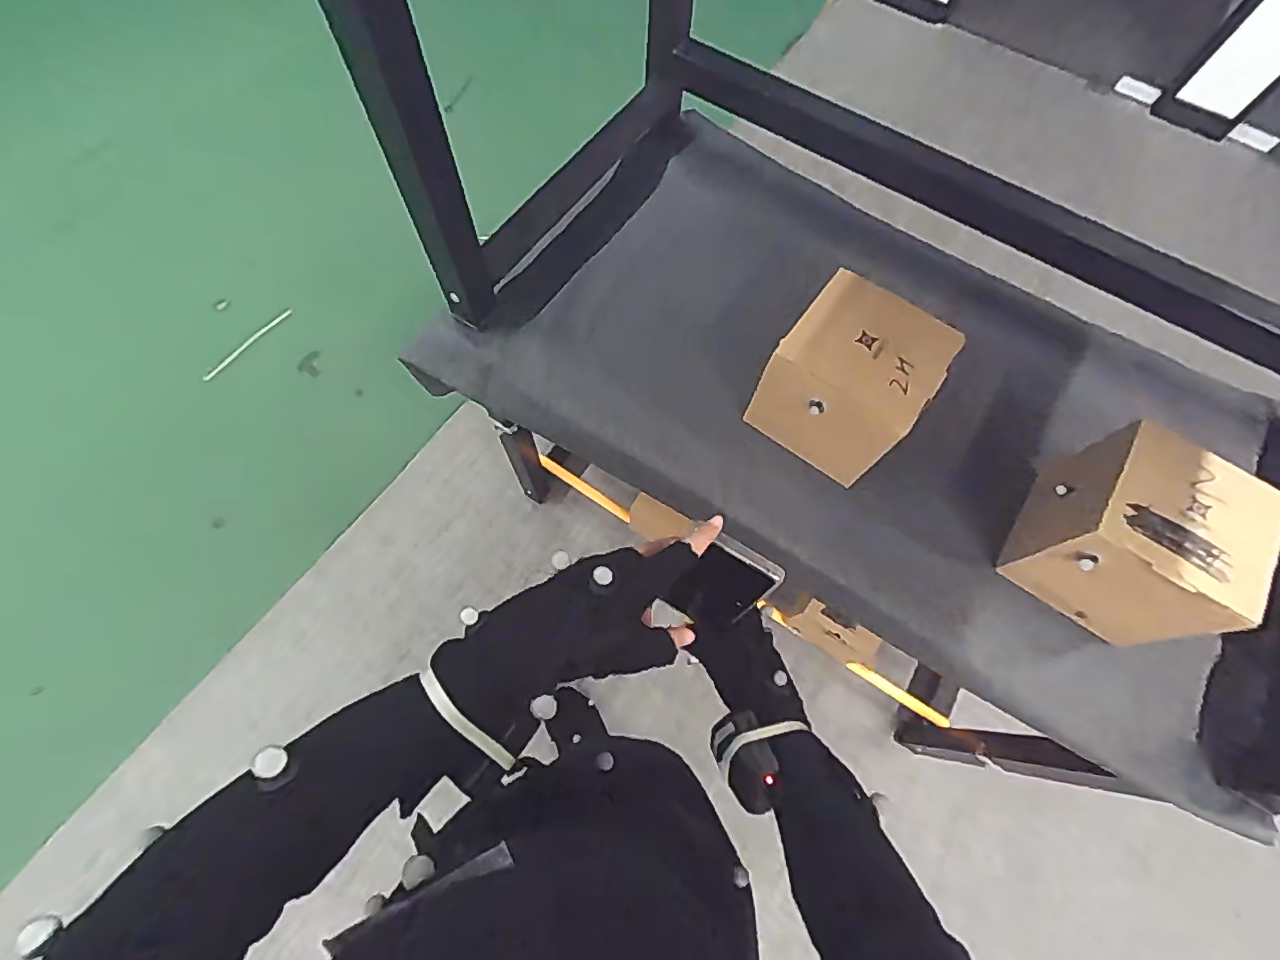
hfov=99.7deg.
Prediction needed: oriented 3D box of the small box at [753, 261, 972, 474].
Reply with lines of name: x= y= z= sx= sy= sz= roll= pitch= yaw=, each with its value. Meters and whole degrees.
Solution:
small box: x=0.270 y=-0.135 z=0.699 sx=0.179 sy=0.176 sz=0.168 roll=36 pitch=71 yaw=11

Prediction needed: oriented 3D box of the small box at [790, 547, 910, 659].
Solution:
small box: x=0.457 y=0.283 z=1.212 sx=0.168 sy=0.176 sz=0.179 roll=36 pitch=72 yaw=11
